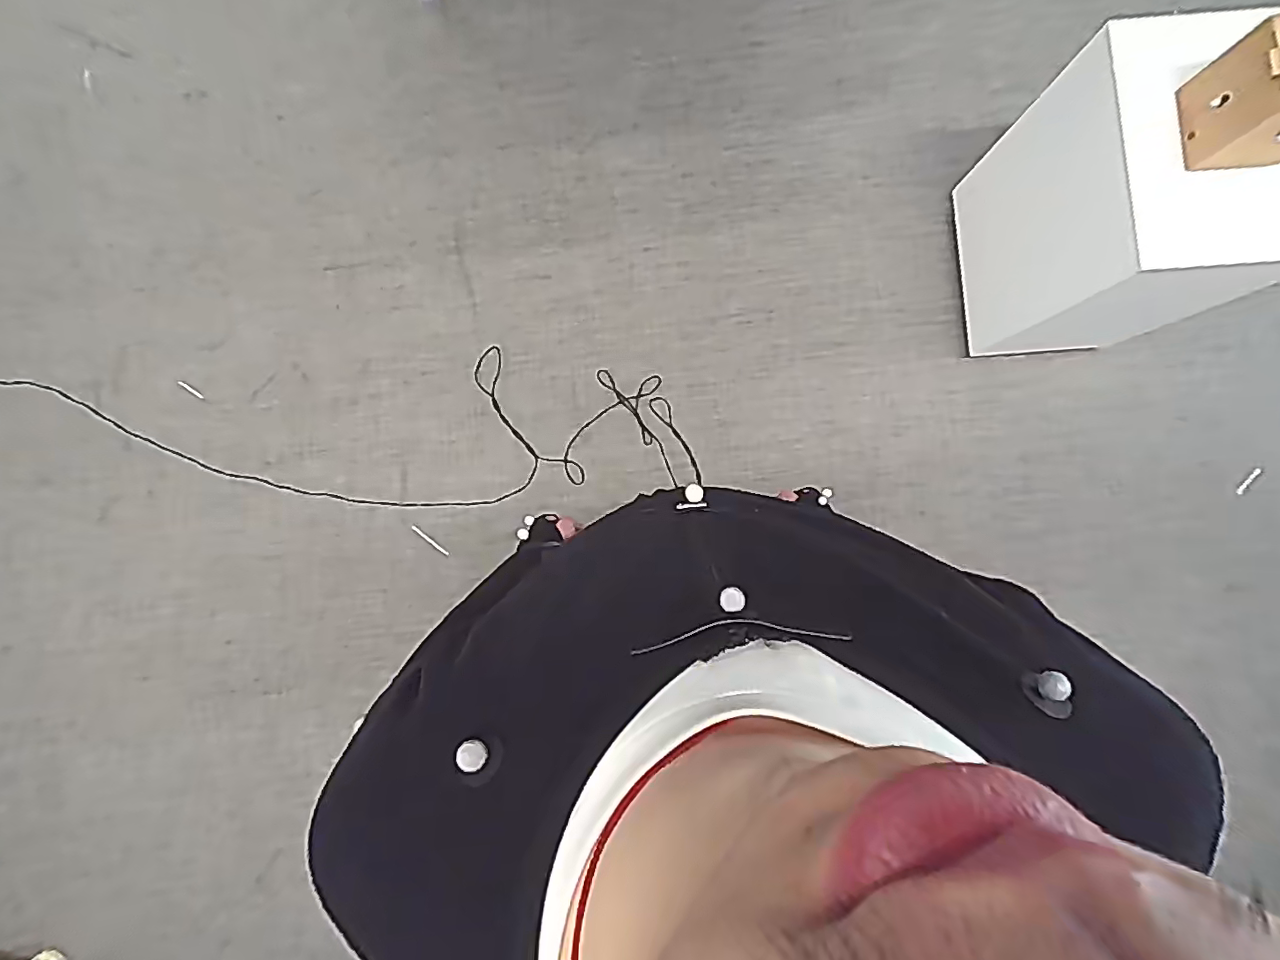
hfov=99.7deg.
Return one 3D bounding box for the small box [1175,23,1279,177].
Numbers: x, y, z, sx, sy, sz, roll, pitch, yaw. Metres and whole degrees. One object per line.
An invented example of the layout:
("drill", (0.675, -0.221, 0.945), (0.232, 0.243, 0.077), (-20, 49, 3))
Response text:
("small box", (1.121, -0.673, 0.968), (0.179, 0.176, 0.168), (-6, 85, 0))
